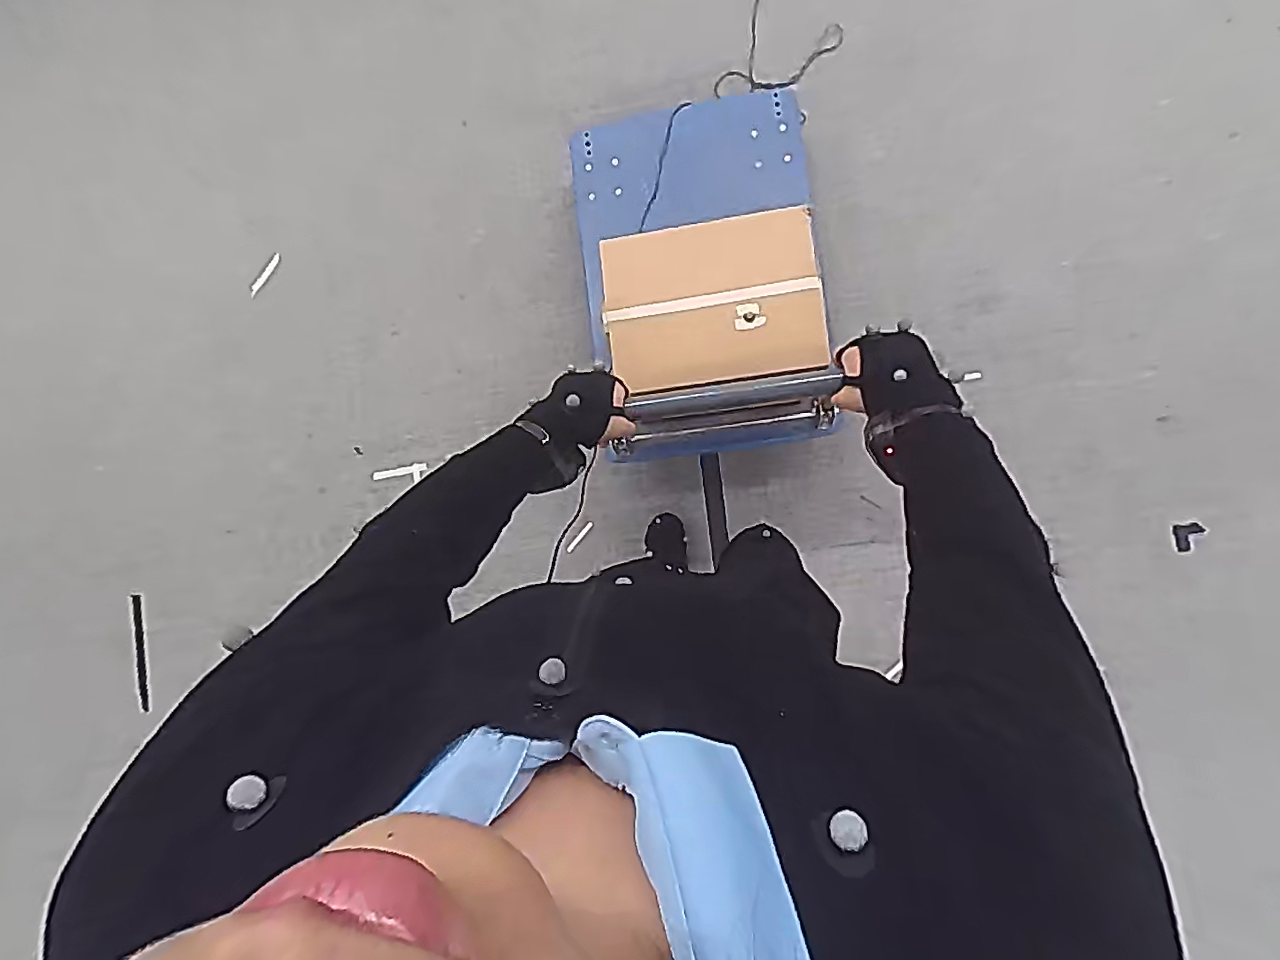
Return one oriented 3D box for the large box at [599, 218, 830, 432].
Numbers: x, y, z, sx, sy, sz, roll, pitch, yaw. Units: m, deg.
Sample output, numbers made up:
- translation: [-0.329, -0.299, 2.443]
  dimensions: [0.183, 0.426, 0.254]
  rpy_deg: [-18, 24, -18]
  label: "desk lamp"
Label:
- translation: [0.149, -0.303, 1.166]
  dimensions: [0.408, 0.320, 0.320]
  rpy_deg: [-7, 86, 6]
  label: "large box"
